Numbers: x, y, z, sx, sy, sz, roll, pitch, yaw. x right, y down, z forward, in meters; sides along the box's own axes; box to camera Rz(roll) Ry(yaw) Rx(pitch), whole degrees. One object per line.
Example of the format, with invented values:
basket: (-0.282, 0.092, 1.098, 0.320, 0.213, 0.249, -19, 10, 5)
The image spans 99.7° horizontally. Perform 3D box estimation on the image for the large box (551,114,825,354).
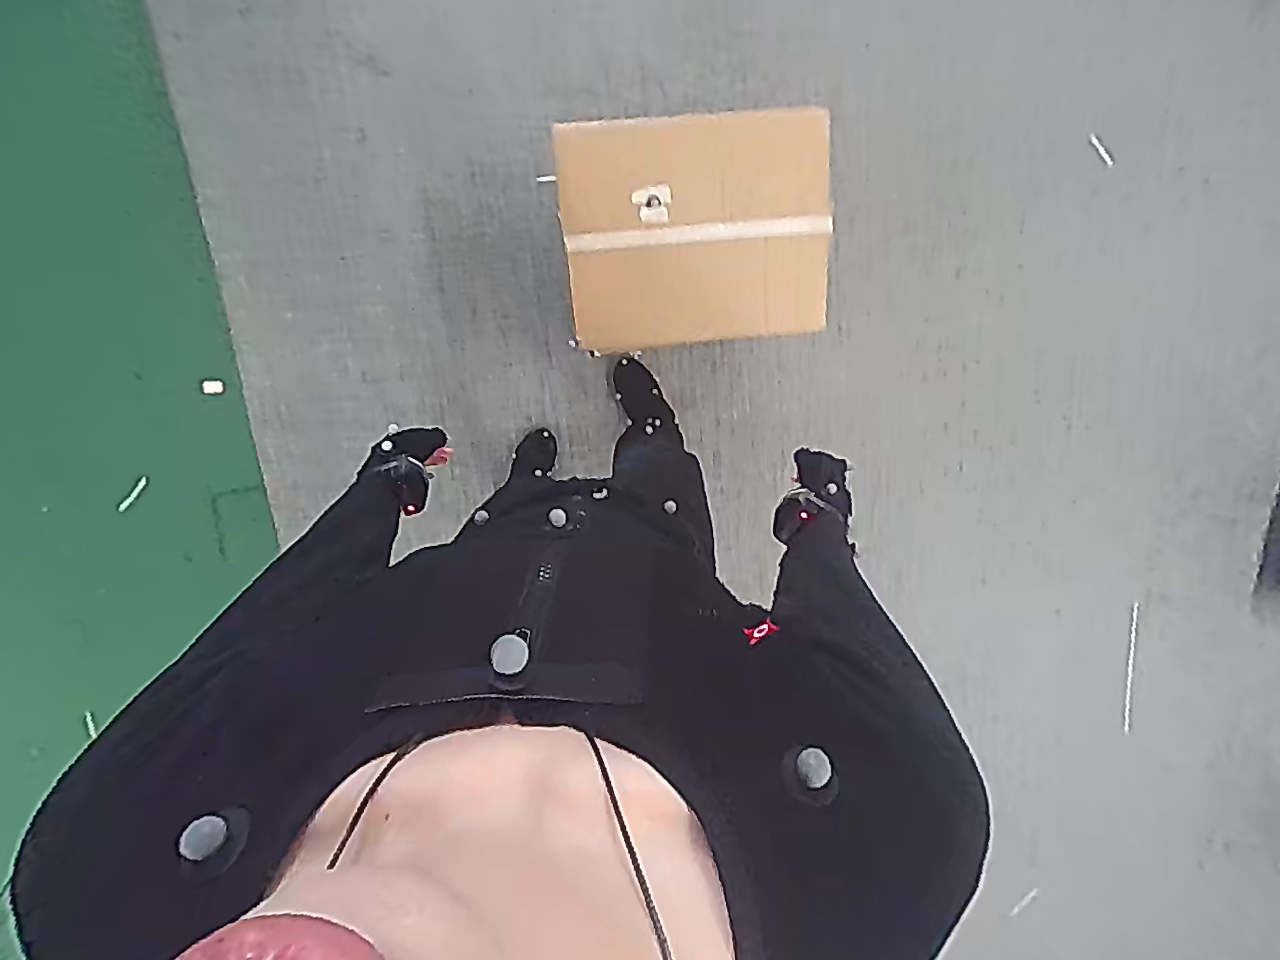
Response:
large box: (0.075, -0.406, 0.957, 0.408, 0.320, 0.320, -5, 106, -2)
